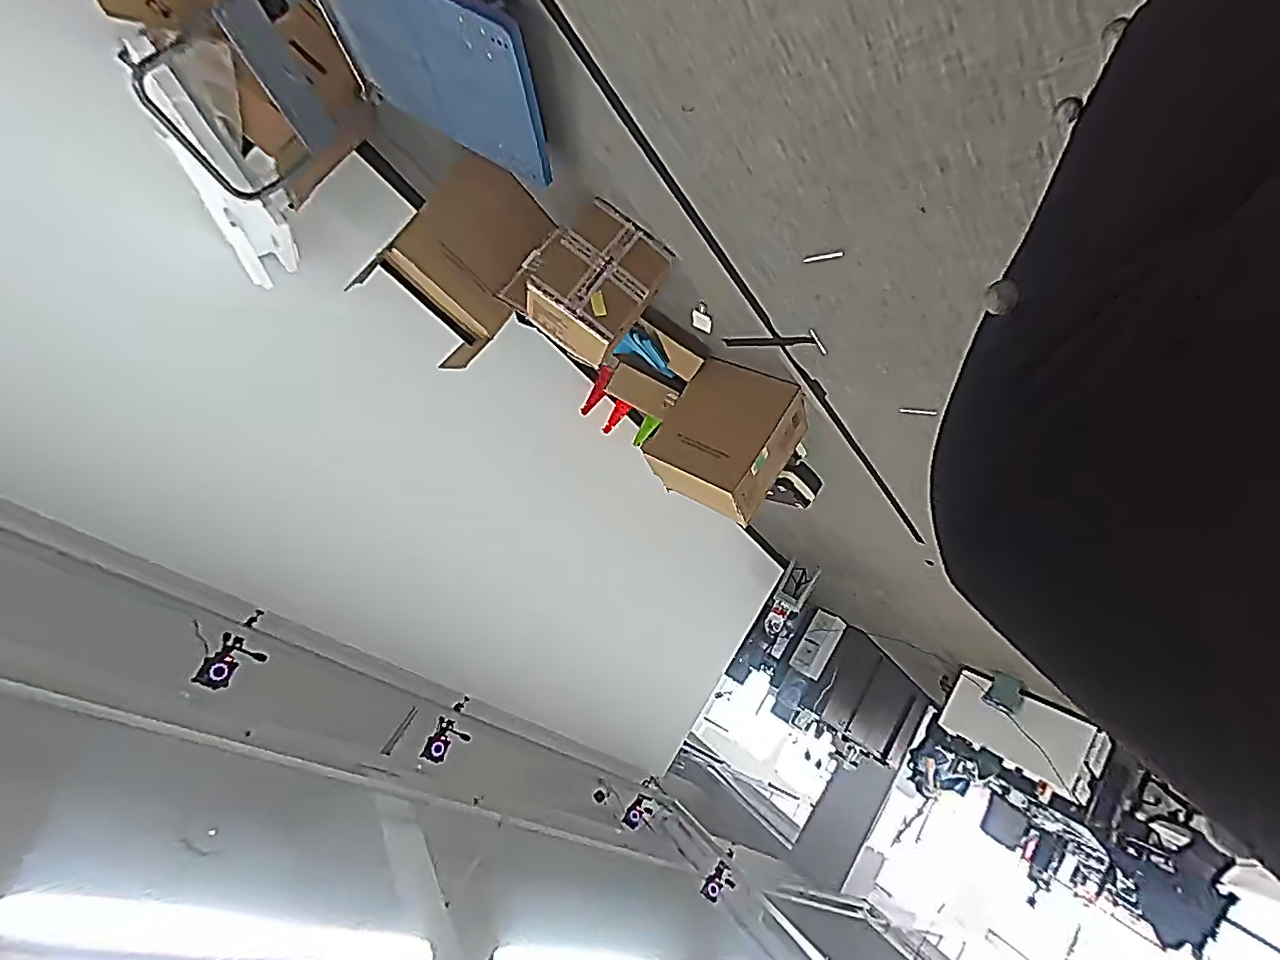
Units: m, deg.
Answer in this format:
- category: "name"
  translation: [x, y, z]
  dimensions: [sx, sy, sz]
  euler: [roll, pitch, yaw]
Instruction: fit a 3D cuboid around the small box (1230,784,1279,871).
- category: "small box"
  translation: [1.754, 0.962, 1.457]
  dimensions: [0.179, 0.176, 0.168]
  euler: [23, 163, 49]
